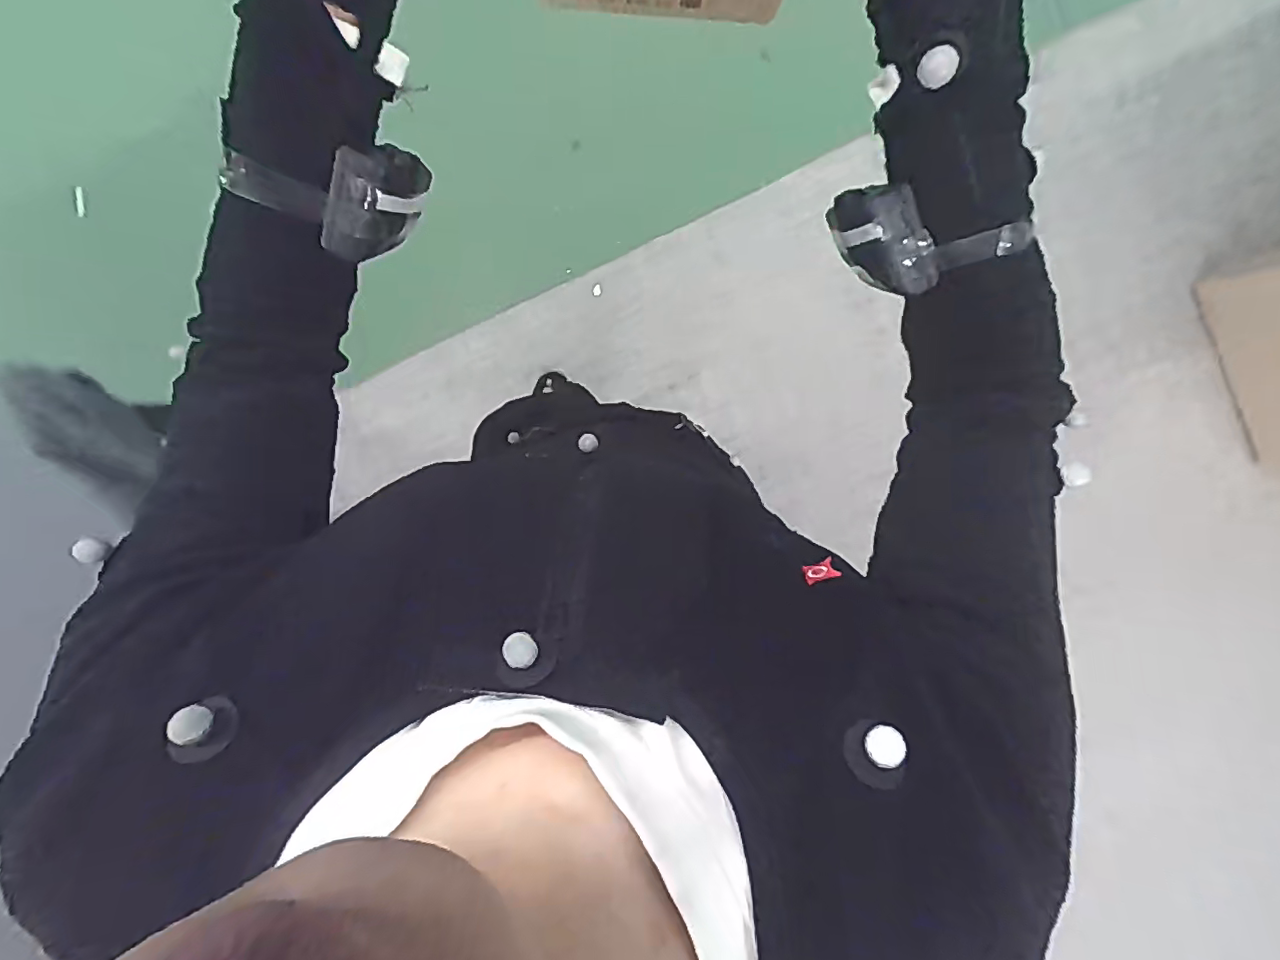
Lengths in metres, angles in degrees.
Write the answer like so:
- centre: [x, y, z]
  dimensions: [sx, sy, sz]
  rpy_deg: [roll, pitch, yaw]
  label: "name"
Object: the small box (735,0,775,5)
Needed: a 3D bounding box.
- centre: [0.029, -0.398, 0.281]
  dimensions: [0.168, 0.176, 0.179]
  rpy_deg: [5, 103, 0]
  label: "small box"
